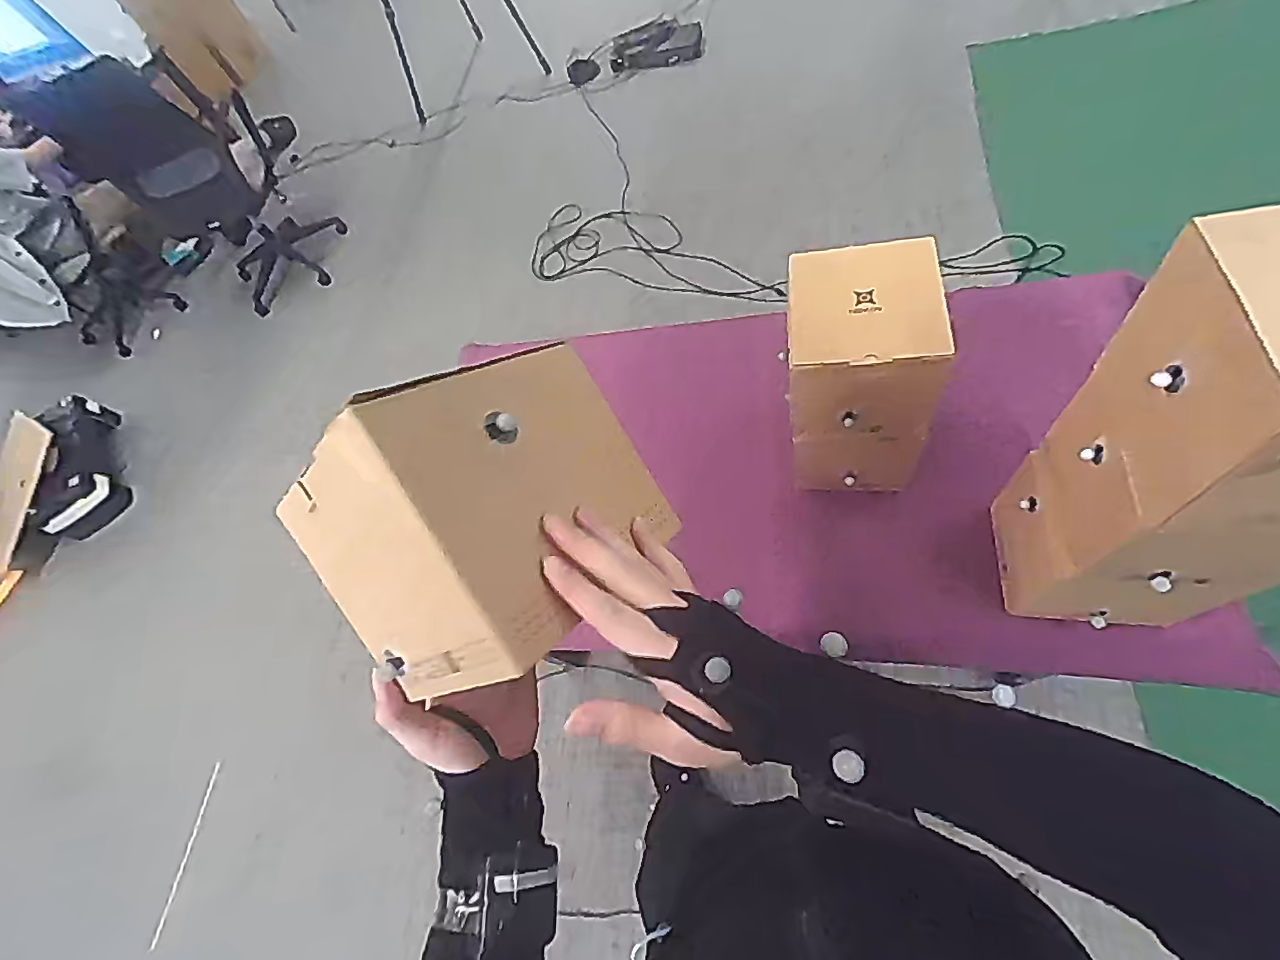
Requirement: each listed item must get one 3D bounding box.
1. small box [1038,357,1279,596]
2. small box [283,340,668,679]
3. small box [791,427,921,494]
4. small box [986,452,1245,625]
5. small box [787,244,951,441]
[{"bbox_3d":[0.525,0.002,0.533,0.168,0.176,0.179,1,64,18],"label":"small box"},{"bbox_3d":[-0.108,0.026,0.394,0.168,0.179,0.176,-28,95,39],"label":"small box"},{"bbox_3d":[0.320,-0.094,0.829,0.168,0.176,0.179,2,65,17],"label":"small box"},{"bbox_3d":[0.563,0.078,0.673,0.179,0.176,0.168,2,63,17],"label":"small box"},{"bbox_3d":[0.274,-0.166,0.690,0.168,0.176,0.179,-1,65,15],"label":"small box"}]
